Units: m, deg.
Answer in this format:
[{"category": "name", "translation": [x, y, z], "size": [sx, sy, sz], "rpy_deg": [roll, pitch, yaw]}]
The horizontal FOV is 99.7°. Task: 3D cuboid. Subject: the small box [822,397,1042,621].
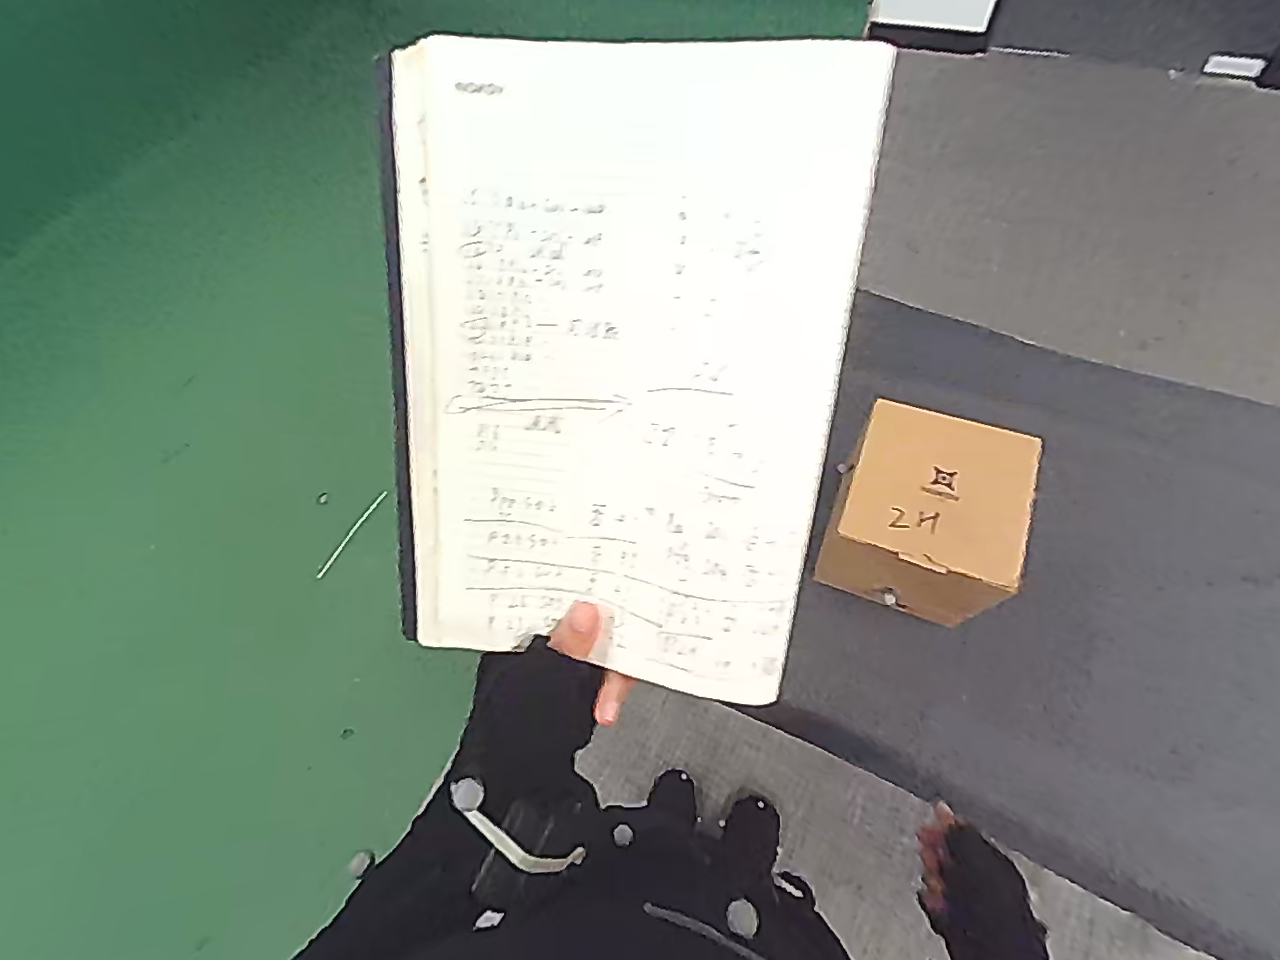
[{"category": "small box", "translation": [0.321, 0.039, 0.623], "size": [0.168, 0.176, 0.179], "rpy_deg": [18, 68, 17]}]
